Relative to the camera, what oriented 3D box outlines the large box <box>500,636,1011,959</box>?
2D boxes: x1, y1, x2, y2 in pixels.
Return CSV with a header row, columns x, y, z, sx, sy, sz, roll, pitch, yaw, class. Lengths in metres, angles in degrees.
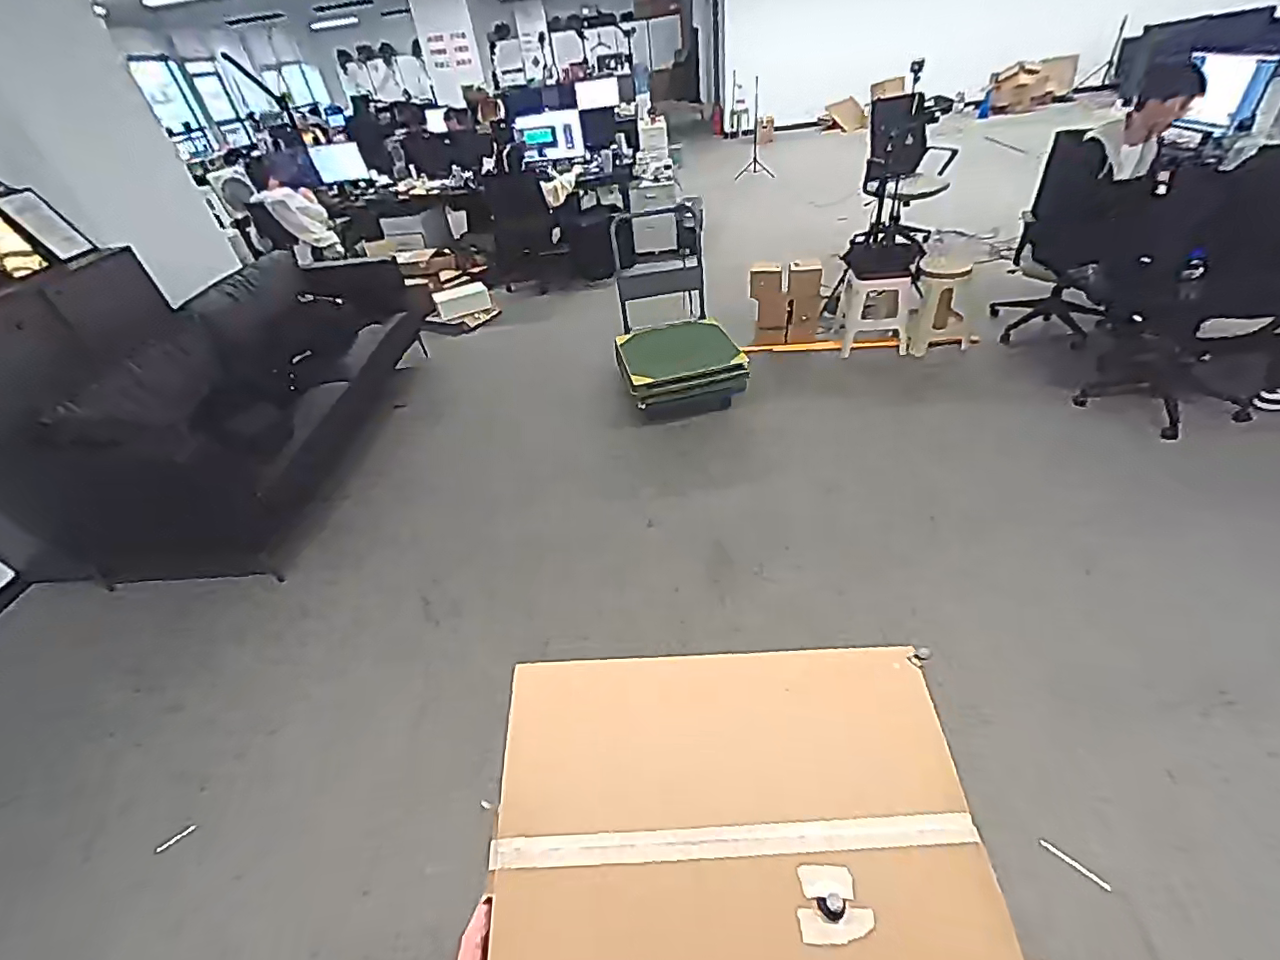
x,y,z,sx,sy,sz,roll,pitch,yaw,class
0.082,0.386,0.591,0.408,0.320,0.320,-2,54,-2,large box
